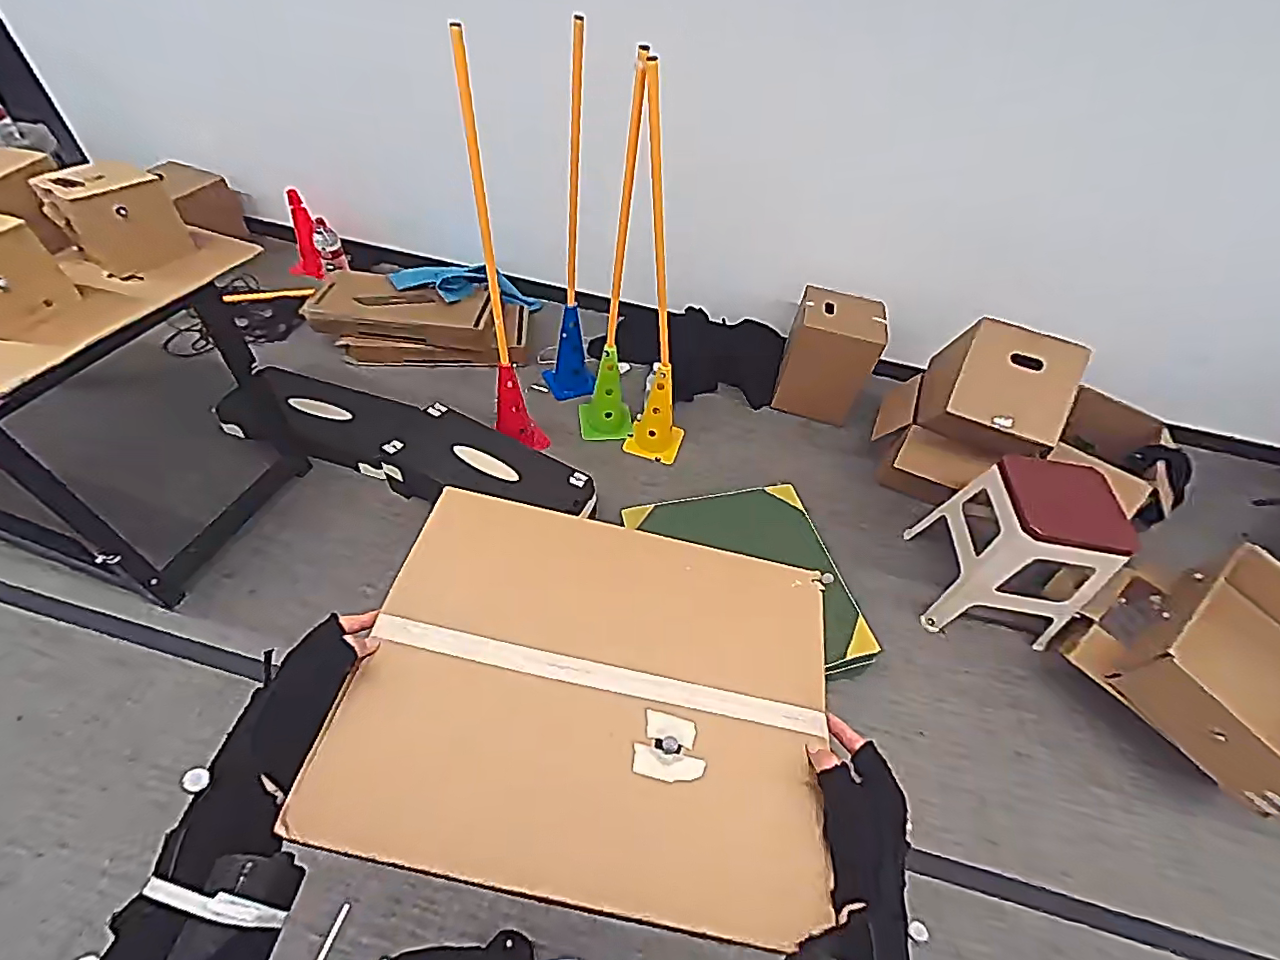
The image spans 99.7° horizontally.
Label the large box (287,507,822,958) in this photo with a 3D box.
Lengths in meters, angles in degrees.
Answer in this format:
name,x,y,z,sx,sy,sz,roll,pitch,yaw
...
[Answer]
name,x,y,z,sx,sy,sz,roll,pitch,yaw
large box,-0.061,0.276,0.595,0.408,0.320,0.320,14,52,-1
